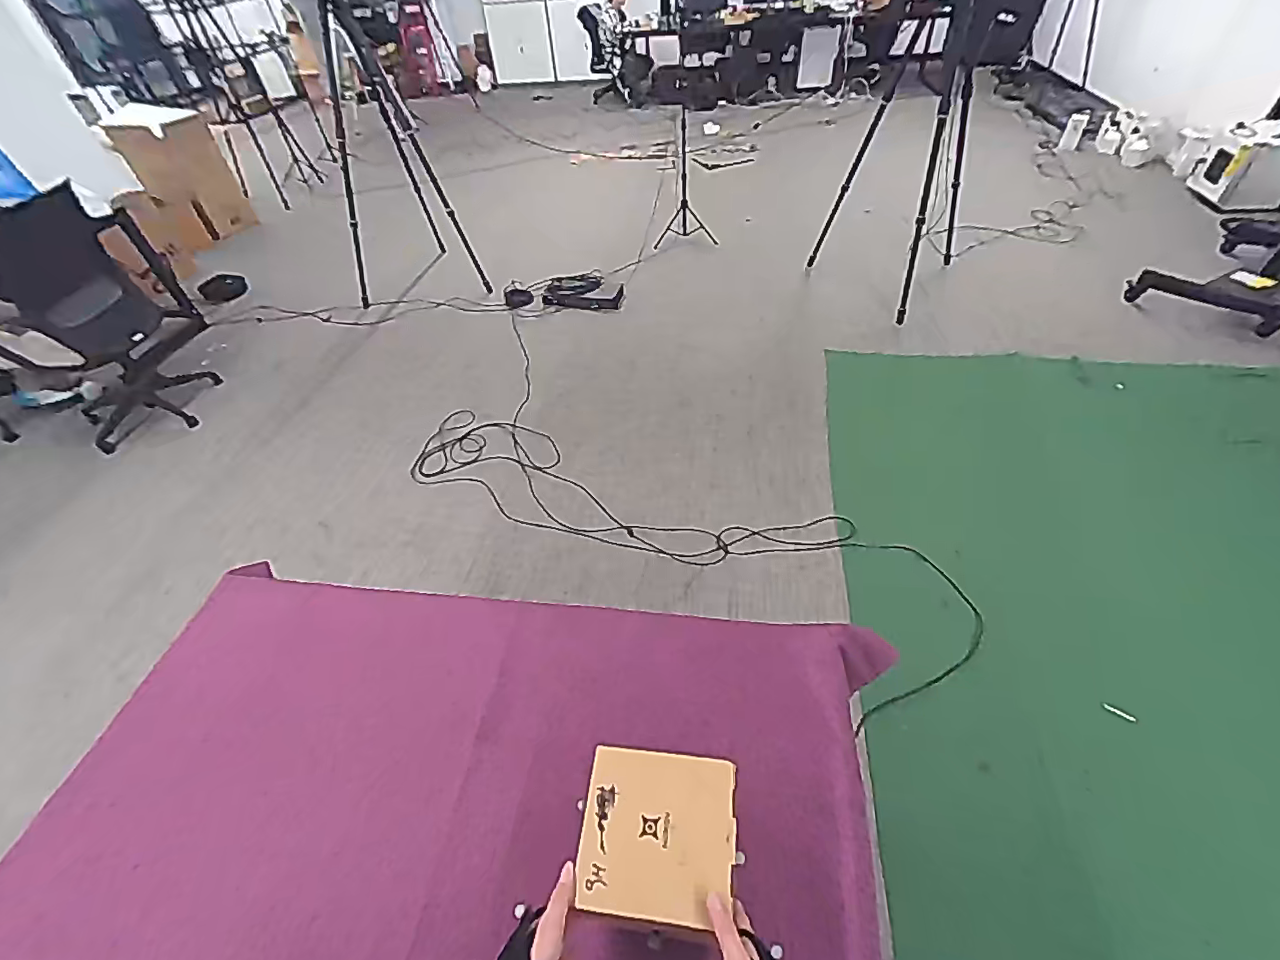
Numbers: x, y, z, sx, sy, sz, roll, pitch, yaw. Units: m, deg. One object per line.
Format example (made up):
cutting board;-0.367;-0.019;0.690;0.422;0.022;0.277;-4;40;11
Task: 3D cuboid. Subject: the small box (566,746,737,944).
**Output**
small box;0.023;0.453;0.669;0.179;0.176;0.168;4;46;8
